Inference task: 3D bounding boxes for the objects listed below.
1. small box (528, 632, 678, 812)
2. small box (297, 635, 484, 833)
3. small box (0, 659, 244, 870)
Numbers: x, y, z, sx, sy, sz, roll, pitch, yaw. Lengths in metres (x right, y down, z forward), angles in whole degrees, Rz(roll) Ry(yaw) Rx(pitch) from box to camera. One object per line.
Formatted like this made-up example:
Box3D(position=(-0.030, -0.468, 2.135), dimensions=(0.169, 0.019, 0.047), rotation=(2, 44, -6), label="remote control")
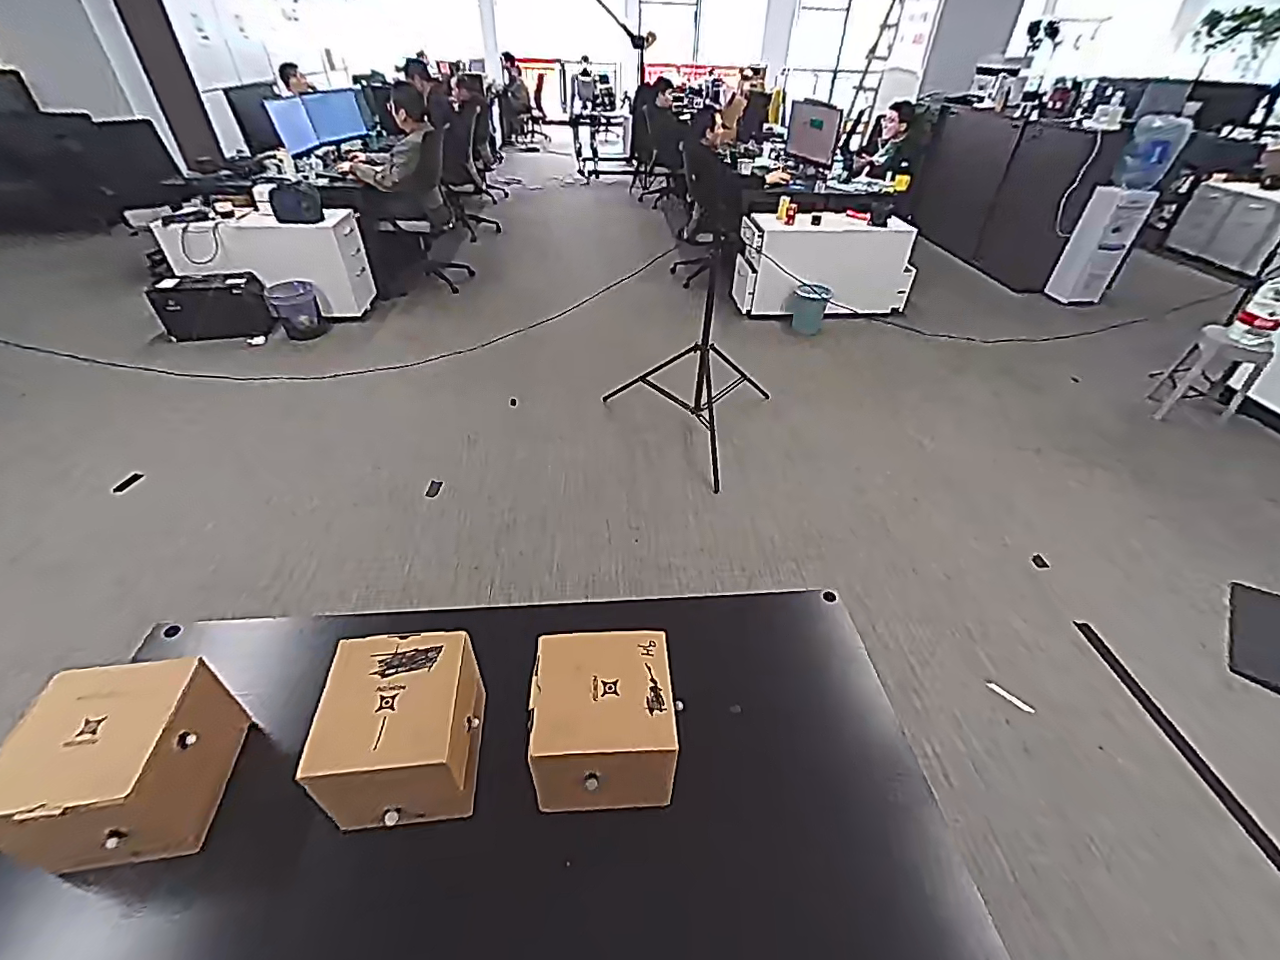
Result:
Box3D(position=(-0.046, 0.326, 0.727), dimensions=(0.179, 0.176, 0.168), rotation=(-2, 39, -3), label="small box")
Box3D(position=(-0.305, 0.329, 0.709), dimensions=(0.168, 0.176, 0.179), rotation=(-3, 40, -6), label="small box")
Box3D(position=(-0.635, 0.352, 0.667), dimensions=(0.168, 0.176, 0.179), rotation=(-3, 39, -9), label="small box")
